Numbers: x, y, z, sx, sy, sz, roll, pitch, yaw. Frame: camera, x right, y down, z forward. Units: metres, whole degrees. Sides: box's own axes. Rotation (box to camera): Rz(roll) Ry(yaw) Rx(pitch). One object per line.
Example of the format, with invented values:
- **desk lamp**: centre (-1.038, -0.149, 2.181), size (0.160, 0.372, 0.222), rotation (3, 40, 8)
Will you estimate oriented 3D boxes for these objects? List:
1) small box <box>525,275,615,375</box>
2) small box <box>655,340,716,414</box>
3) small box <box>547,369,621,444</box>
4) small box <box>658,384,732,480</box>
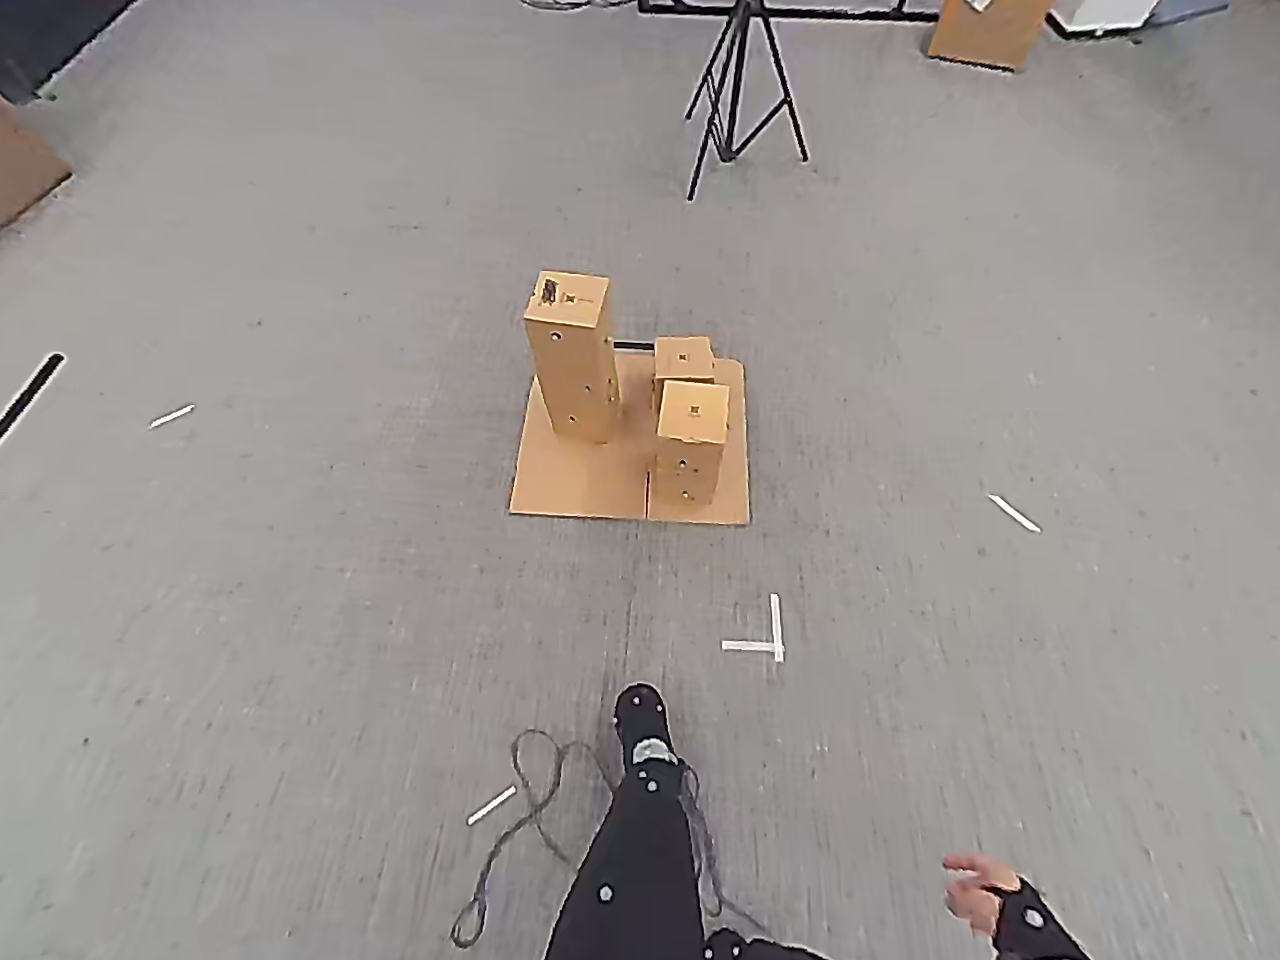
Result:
- **small box**: centre (-0.166, -0.381, 1.350), size (0.179, 0.176, 0.168), rotation (9, 62, 6)
- **small box**: centre (0.137, -0.317, 1.688), size (0.179, 0.176, 0.168), rotation (-1, 61, 0)
- **small box**: centre (-0.162, -0.227, 1.641), size (0.179, 0.176, 0.168), rotation (10, 63, 8)
- **small box**: centre (0.138, -0.122, 1.395), size (0.168, 0.176, 0.179), rotation (6, 63, 4)
